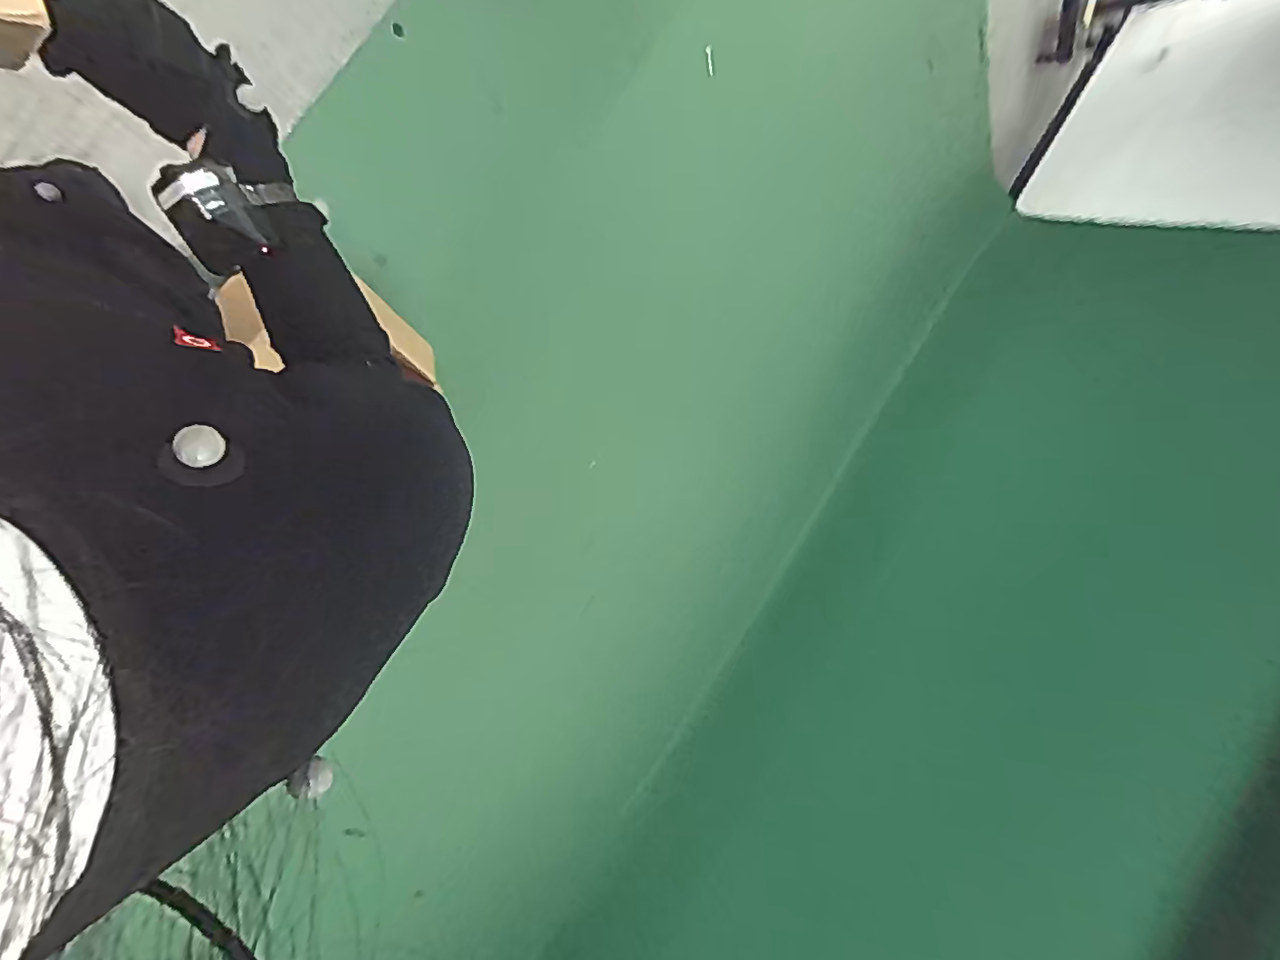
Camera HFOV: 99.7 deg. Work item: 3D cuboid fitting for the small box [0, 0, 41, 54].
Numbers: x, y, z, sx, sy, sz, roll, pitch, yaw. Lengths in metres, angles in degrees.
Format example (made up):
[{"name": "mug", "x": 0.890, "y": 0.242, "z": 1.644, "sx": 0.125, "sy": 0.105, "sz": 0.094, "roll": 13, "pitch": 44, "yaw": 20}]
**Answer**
[{"name": "small box", "x": -0.404, "y": -0.305, "z": 0.218, "sx": 0.168, "sy": 0.176, "sz": 0.179, "roll": -26, "pitch": 127, "yaw": -43}]
